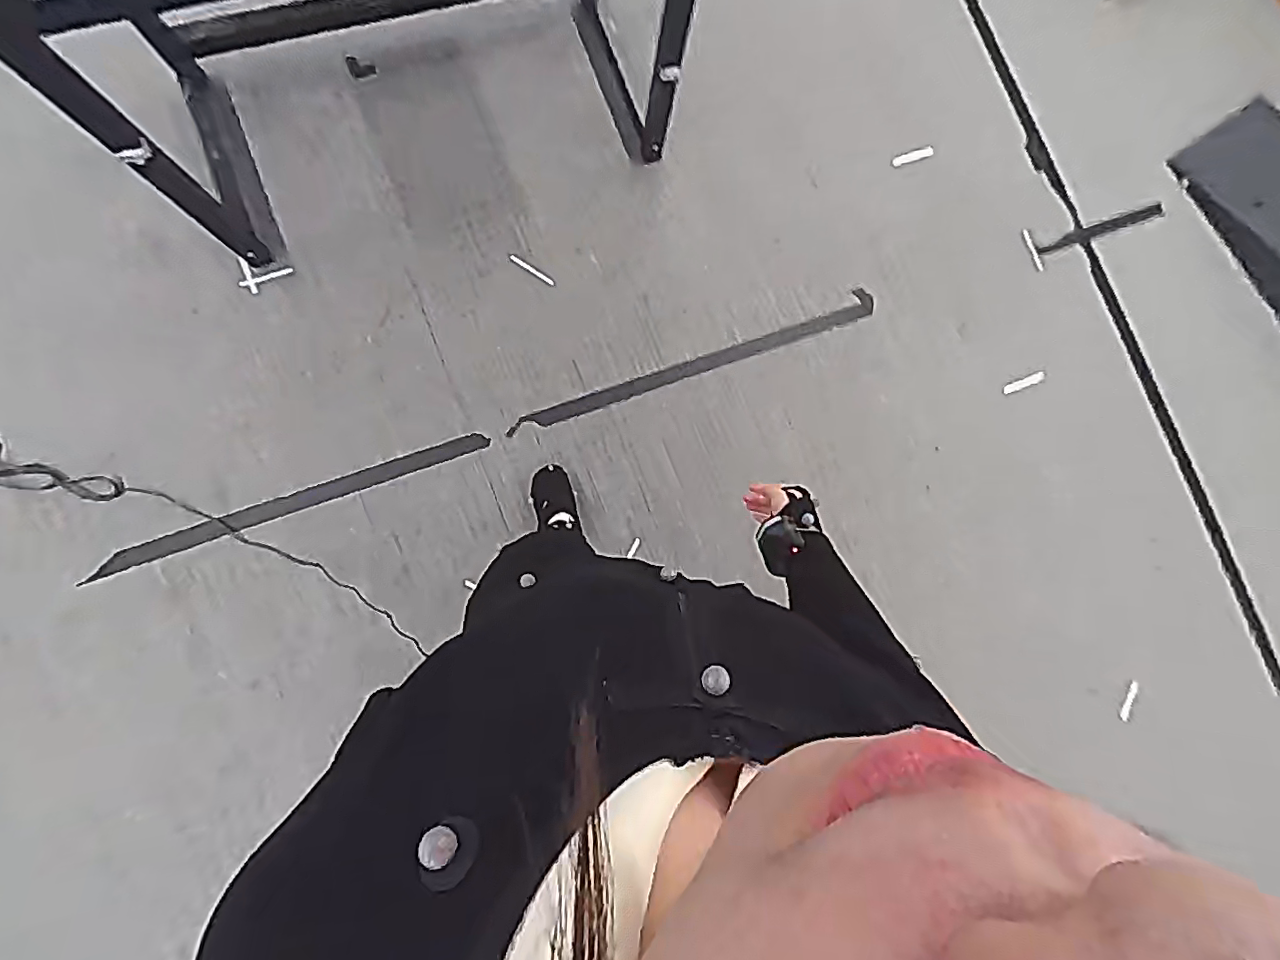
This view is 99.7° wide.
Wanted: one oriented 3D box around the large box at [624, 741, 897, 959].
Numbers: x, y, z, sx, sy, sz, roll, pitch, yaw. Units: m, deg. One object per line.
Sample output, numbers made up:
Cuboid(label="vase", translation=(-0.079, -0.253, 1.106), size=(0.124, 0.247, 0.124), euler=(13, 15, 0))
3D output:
Cuboid(label="large box", translation=(0.215, 0.810, 1.111), size=(0.408, 0.320, 0.320), euler=(-20, 87, -9))

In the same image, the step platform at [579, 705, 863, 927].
Cuboid(label="step platform", translation=(0.197, 0.814, 1.350), size=(0.684, 0.204, 0.286), euler=(-14, 86, -9))
